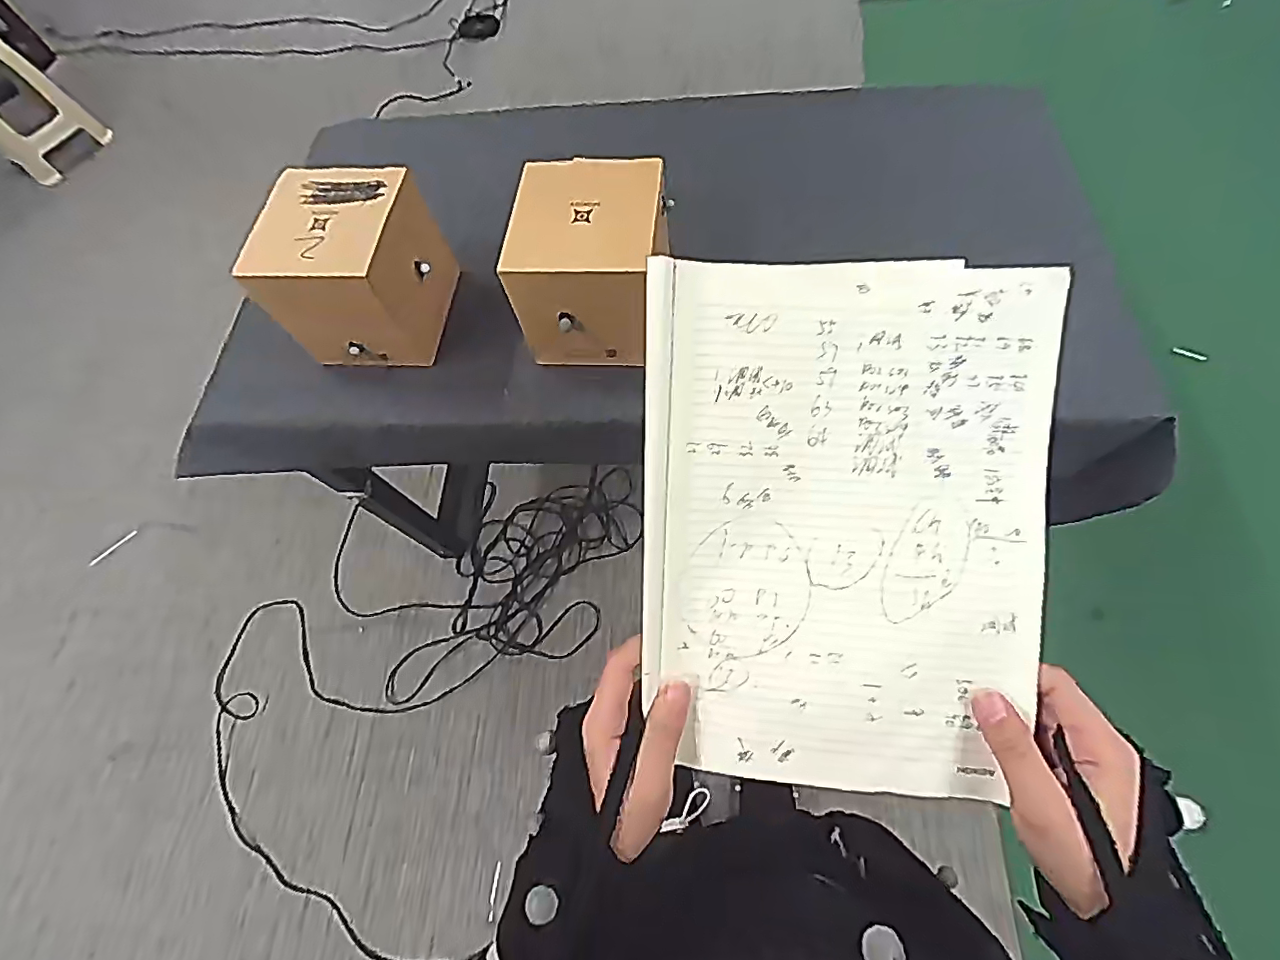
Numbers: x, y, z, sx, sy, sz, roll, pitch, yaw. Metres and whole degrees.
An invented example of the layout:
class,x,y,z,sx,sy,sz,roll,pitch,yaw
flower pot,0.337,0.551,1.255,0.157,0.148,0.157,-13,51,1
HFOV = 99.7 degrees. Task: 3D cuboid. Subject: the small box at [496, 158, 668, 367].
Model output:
class,x,y,z,sx,sy,sz,roll,pitch,yaw
small box,-0.055,-0.254,0.660,0.168,0.176,0.179,2,65,8
